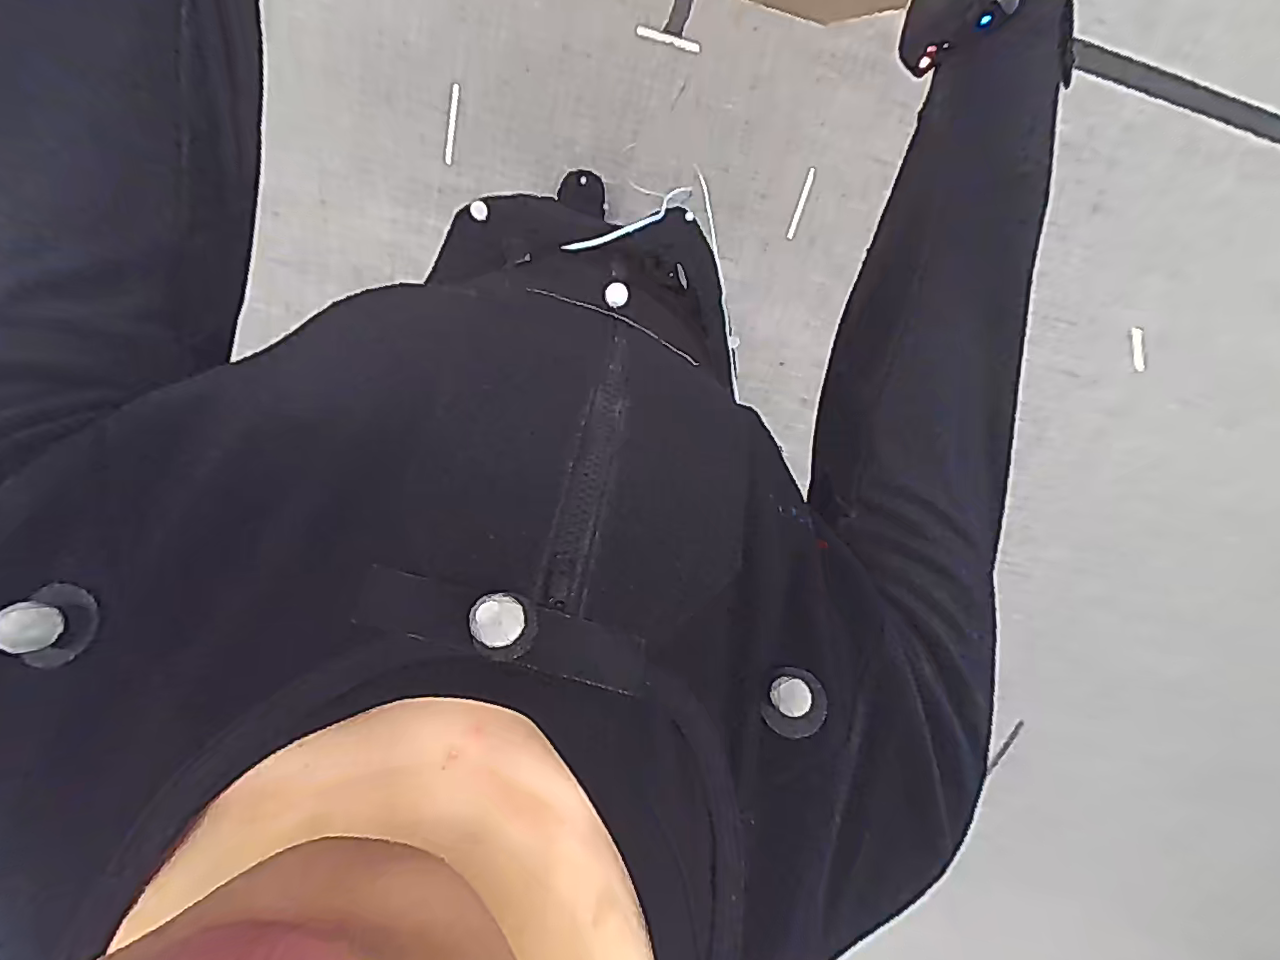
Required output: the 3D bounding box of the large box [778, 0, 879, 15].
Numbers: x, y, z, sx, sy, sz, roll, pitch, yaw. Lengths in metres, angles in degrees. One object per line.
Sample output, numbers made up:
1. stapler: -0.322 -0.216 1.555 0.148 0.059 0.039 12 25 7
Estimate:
1. large box: 0.052 -0.579 0.367 0.408 0.320 0.320 12 128 -8
